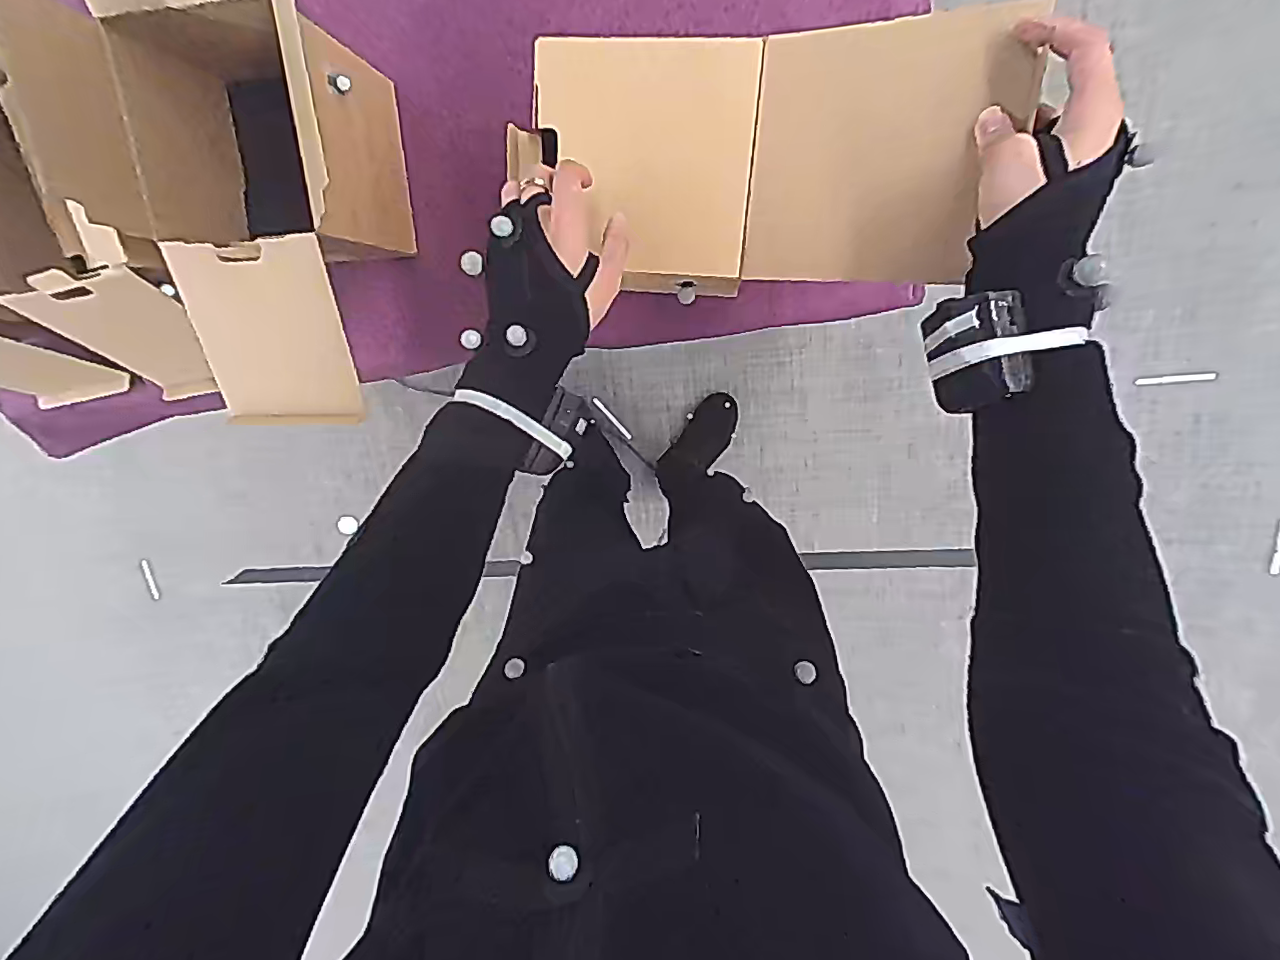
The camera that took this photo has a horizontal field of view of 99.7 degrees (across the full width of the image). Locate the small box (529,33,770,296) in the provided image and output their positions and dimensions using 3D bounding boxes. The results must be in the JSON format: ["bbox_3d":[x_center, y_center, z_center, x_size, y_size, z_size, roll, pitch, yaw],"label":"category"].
[{"bbox_3d":[0.012,-0.264,0.492,0.179,0.176,0.168,7,105,7],"label":"small box"}]
